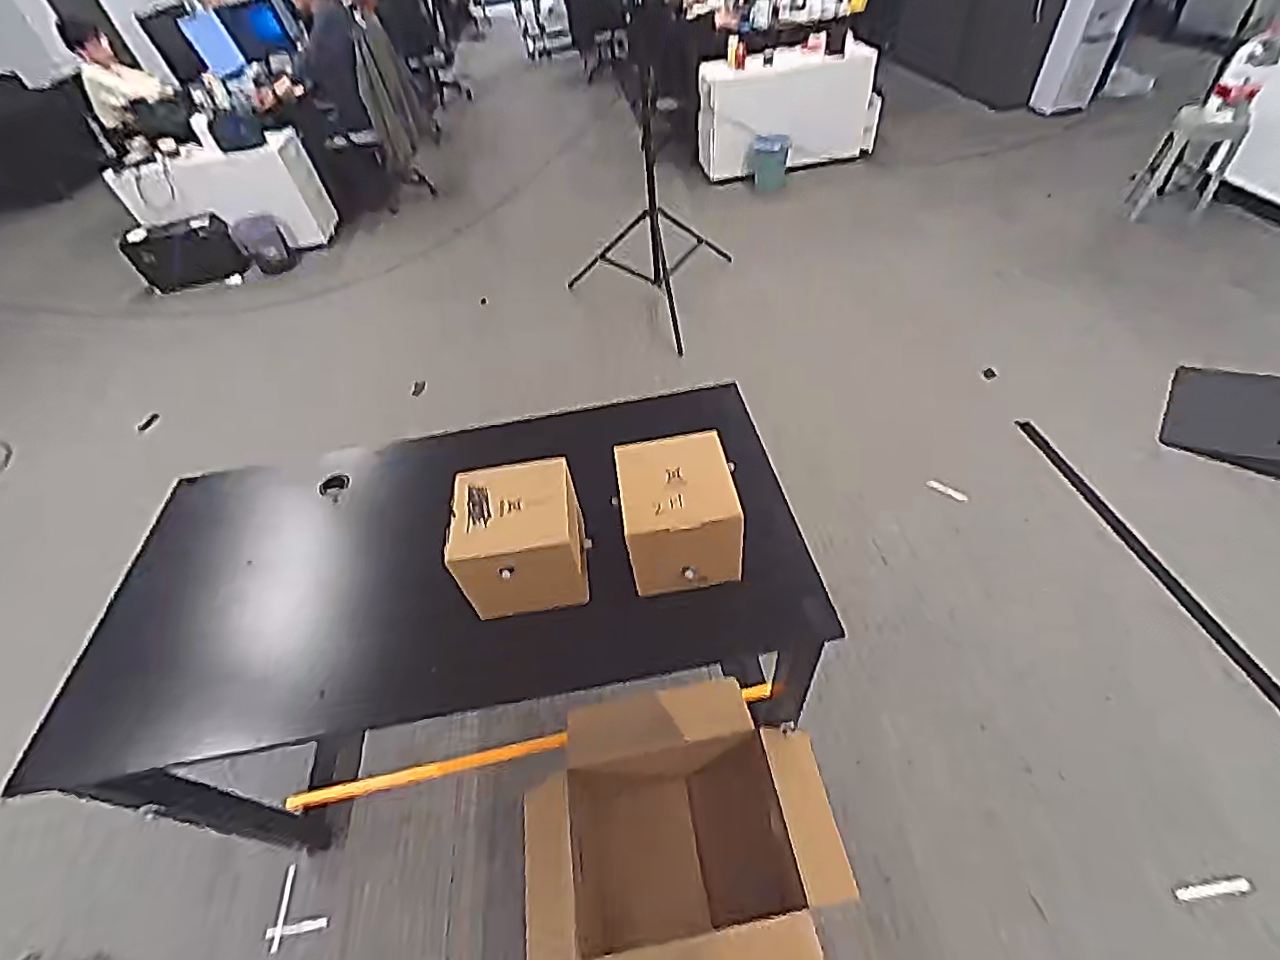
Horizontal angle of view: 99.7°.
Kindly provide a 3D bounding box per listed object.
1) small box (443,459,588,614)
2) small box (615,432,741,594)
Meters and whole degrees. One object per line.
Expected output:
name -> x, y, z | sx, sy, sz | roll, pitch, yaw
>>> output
small box -> -0.185, 0.093, 0.850 | 0.179, 0.176, 0.168 | -8, 48, -1
small box -> 0.057, 0.053, 0.851 | 0.168, 0.176, 0.179 | -10, 48, 1
